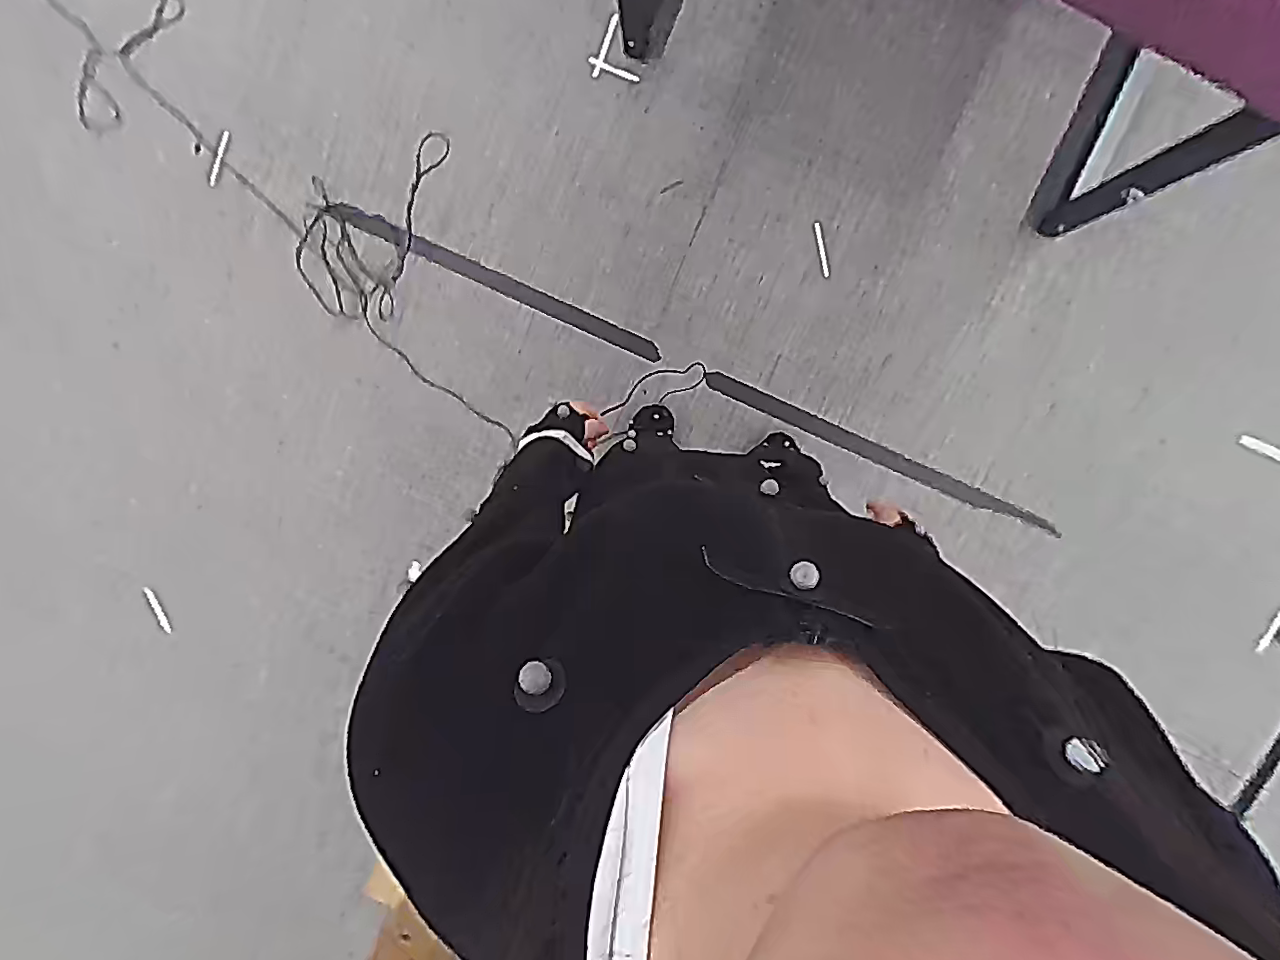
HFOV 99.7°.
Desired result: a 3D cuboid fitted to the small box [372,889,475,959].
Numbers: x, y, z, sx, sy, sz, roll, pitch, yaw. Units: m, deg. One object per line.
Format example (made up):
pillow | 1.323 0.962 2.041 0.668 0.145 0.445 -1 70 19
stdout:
small box | -0.463 1.010 1.123 0.168 0.176 0.179 20 99 1
